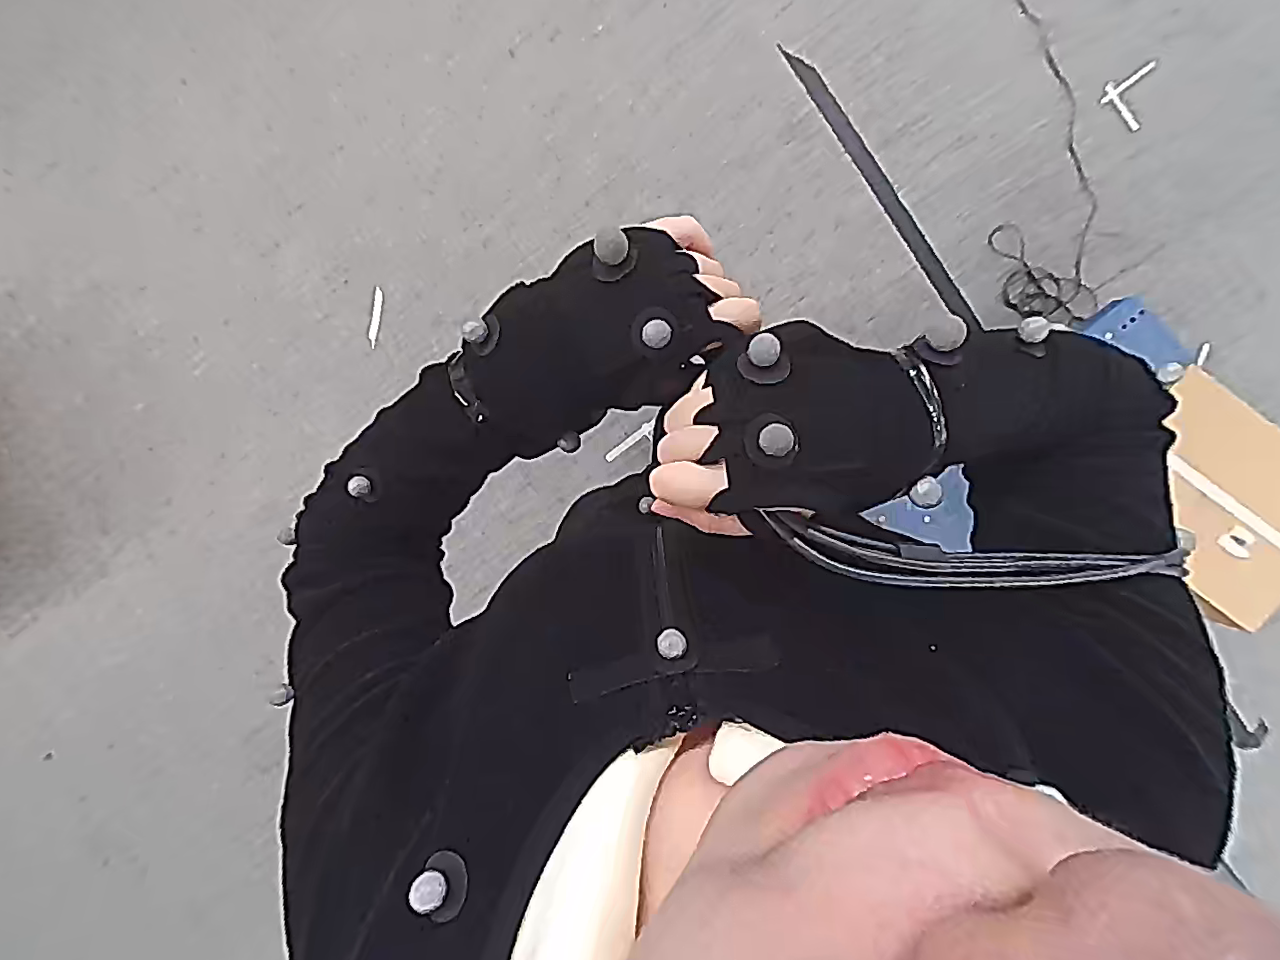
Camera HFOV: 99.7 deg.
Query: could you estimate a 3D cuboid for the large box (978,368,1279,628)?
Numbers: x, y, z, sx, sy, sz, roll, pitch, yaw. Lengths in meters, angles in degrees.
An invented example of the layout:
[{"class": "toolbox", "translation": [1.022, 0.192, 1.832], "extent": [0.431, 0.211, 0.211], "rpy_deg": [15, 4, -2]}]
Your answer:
[{"class": "large box", "translation": [1.032, 0.025, 1.119], "extent": [0.408, 0.320, 0.320], "rpy_deg": [38, 95, 0]}]
